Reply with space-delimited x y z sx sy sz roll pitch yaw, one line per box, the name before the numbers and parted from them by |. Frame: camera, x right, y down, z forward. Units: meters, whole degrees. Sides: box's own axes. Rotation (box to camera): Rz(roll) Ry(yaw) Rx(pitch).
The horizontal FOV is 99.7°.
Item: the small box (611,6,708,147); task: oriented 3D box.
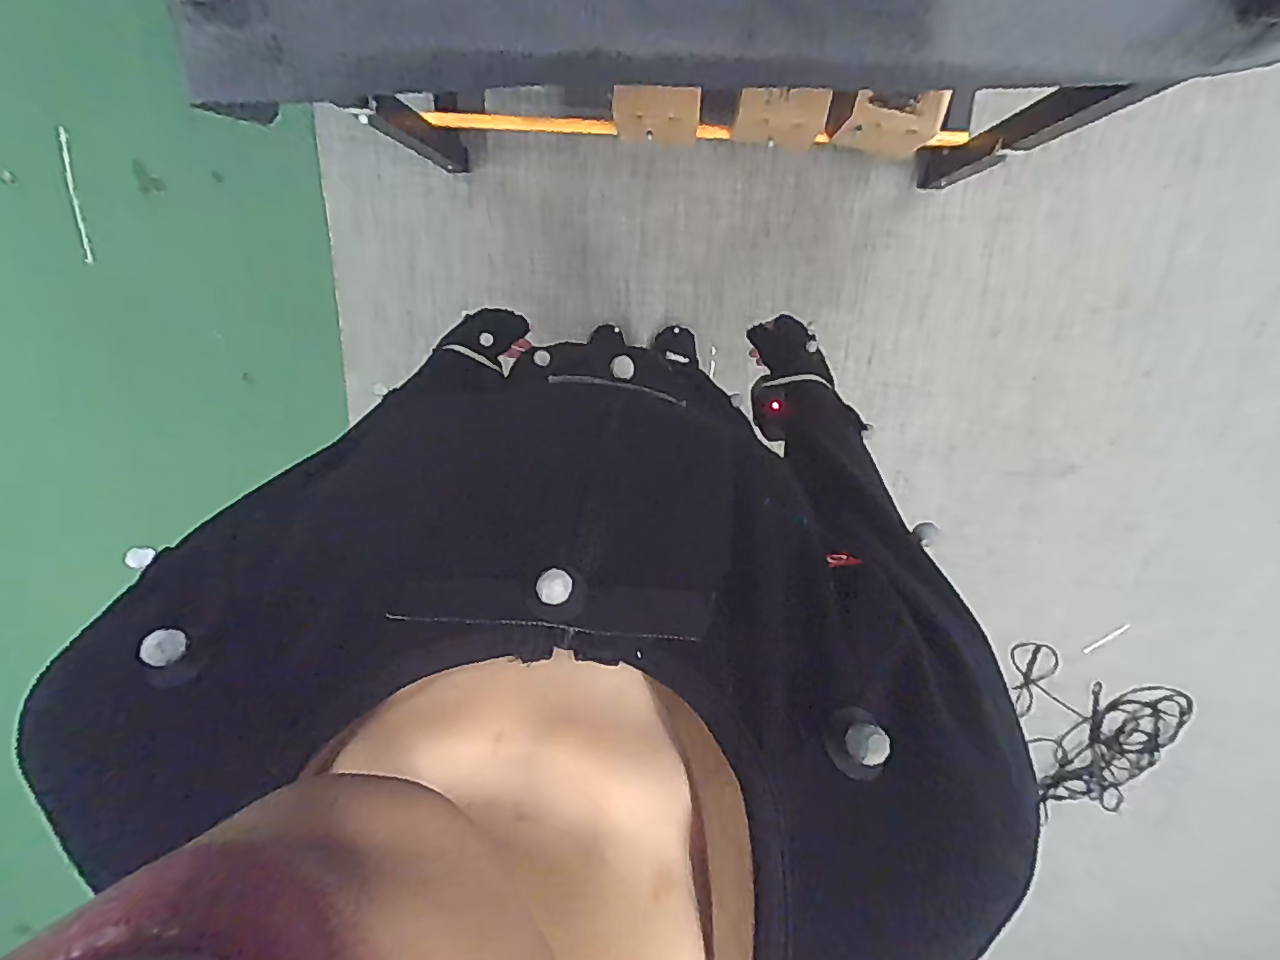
small box | 0.036 -0.784 1.067 0.168 0.176 0.179 5 110 1
